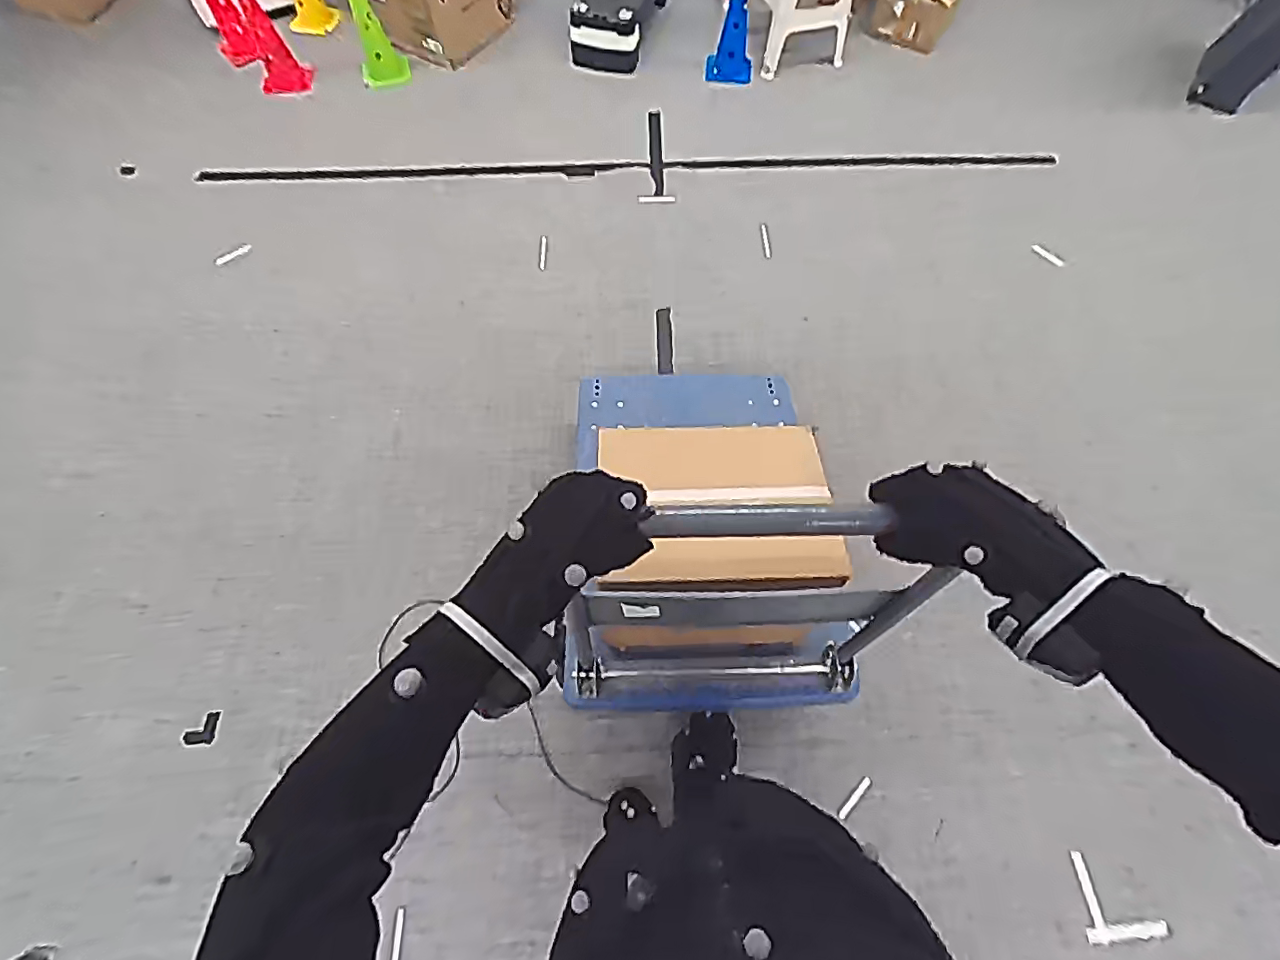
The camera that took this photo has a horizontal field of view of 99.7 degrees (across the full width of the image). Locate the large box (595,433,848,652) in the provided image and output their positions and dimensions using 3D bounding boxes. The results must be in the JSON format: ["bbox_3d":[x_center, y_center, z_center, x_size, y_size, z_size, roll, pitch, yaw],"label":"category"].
[{"bbox_3d":[0.119,0.126,1.044,0.408,0.320,0.320,-1,55,-2],"label":"large box"}]
